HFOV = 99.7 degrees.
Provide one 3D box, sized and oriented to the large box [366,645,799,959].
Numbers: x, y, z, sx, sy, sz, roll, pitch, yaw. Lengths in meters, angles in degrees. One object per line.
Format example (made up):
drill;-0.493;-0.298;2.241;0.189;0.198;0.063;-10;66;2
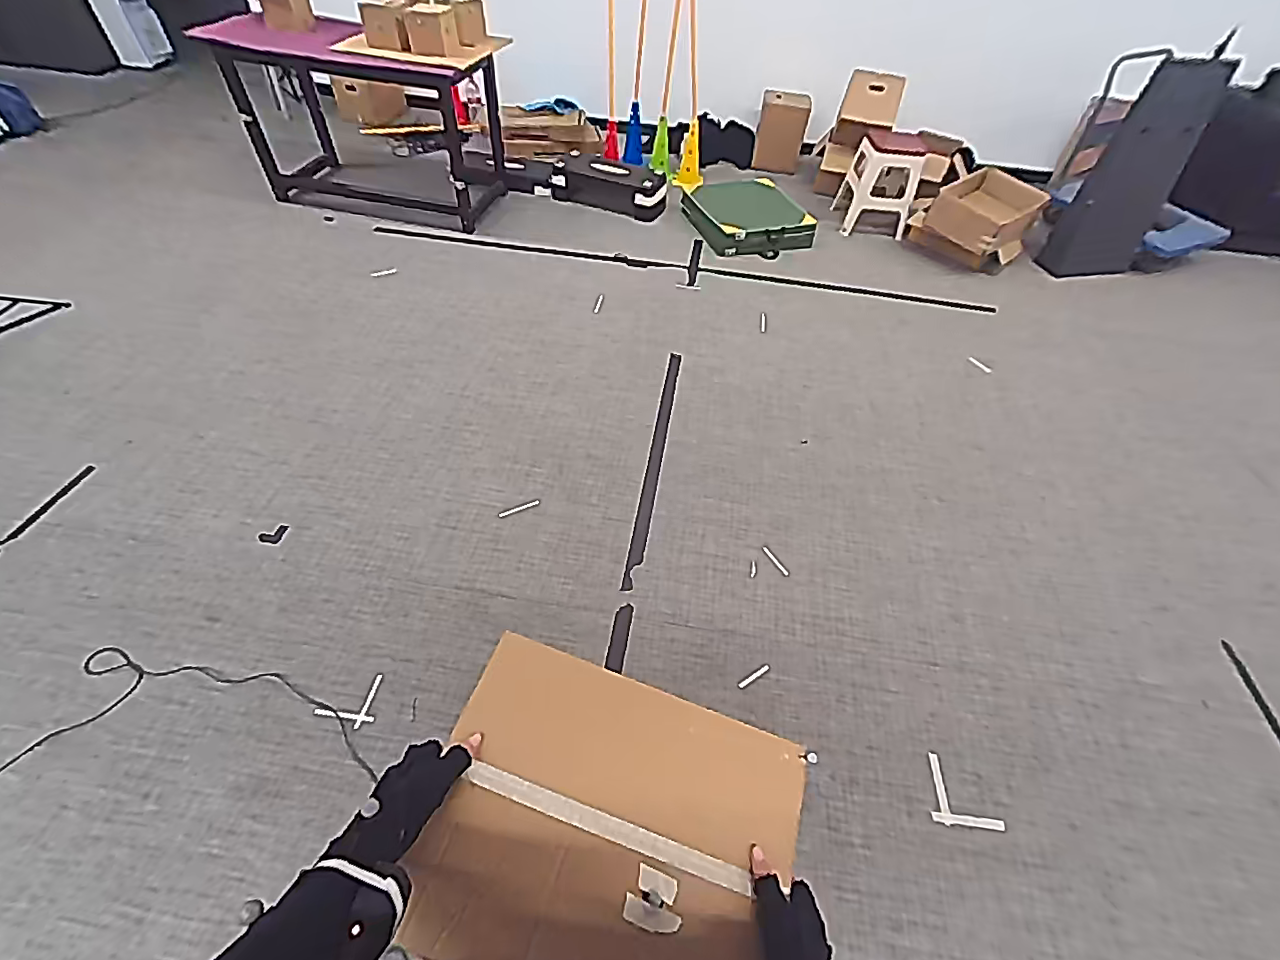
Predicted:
large box;-0.057;0.474;0.711;0.408;0.320;0.320;20;54;5
